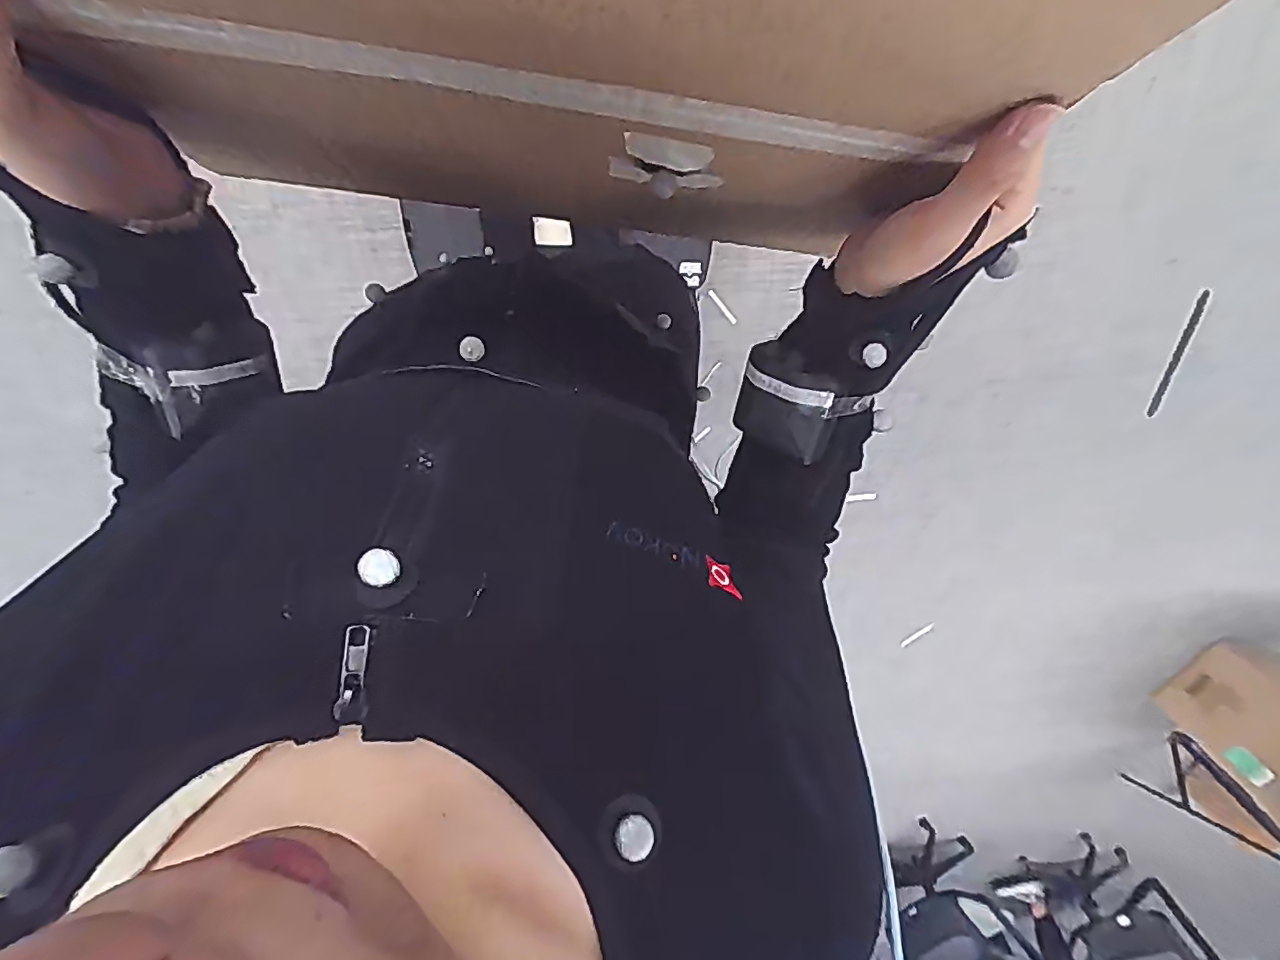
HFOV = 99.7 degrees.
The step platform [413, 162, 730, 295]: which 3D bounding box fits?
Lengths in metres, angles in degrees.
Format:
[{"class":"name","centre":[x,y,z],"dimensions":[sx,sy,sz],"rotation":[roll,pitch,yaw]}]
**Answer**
[{"class":"step platform","centre":[-0.143,-0.592,1.219],"dimensions":[0.684,0.204,0.286],"rotation":[1,121,-6]}]

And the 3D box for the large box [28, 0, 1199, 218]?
[{"class":"large box","centre":[-0.020,-0.317,0.167],"dimensions":[0.408,0.320,0.320],"rotation":[4,97,-6]}]
